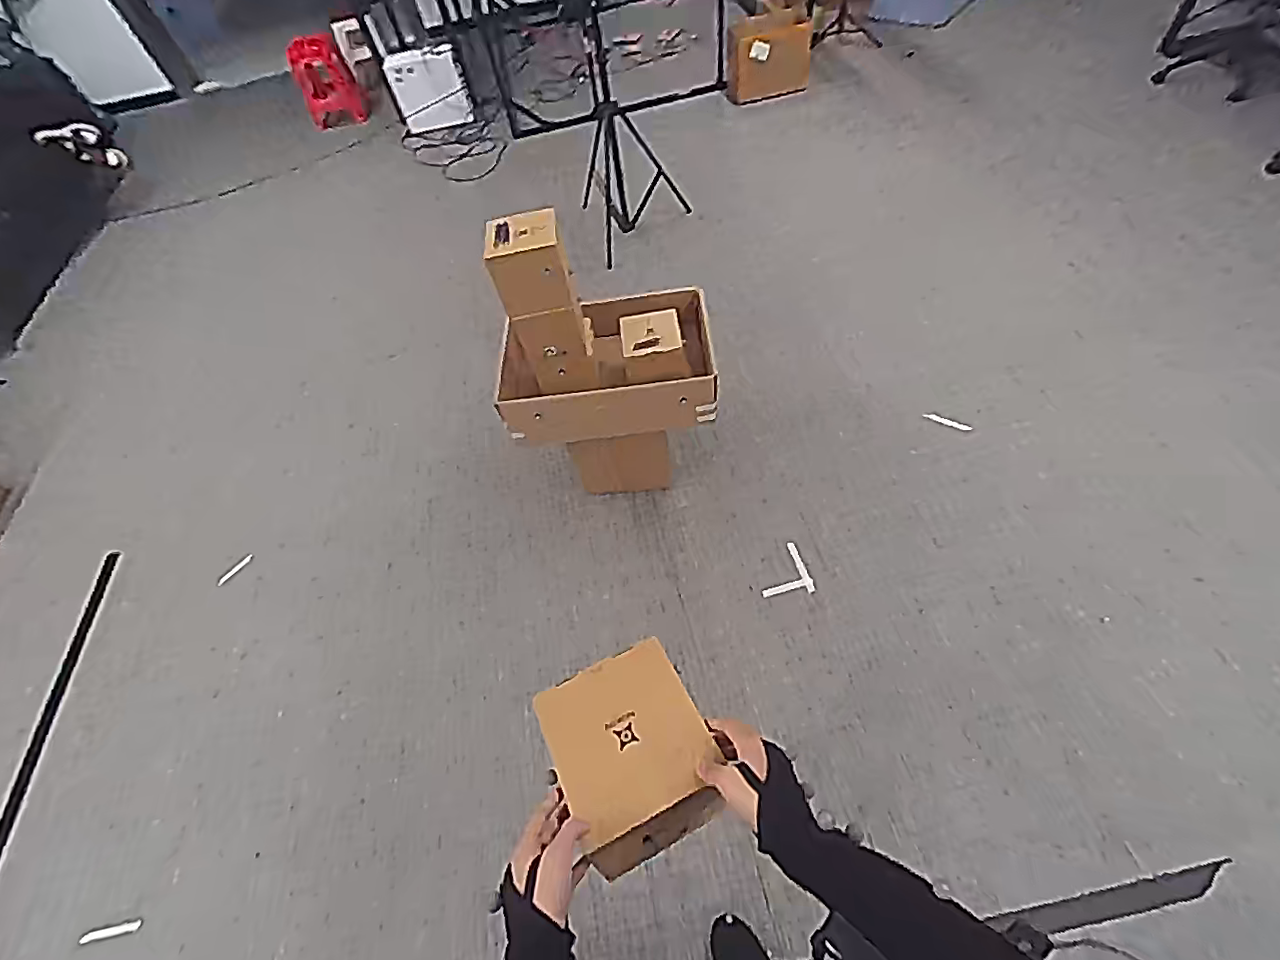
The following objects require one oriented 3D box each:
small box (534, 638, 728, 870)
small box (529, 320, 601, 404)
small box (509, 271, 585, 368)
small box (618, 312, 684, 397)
[{"bbox_3d":[-0.007,0.331,0.646,0.168,0.176,0.179,-22,46,-14],"label":"small box"},{"bbox_3d":[-0.221,-0.344,1.609,0.179,0.176,0.168,-9,55,2],"label":"small box"},{"bbox_3d":[-0.251,-0.436,1.477,0.168,0.176,0.179,-12,54,2],"label":"small box"},{"bbox_3d":[0.033,-0.358,1.579,0.168,0.176,0.179,-9,54,3],"label":"small box"}]
